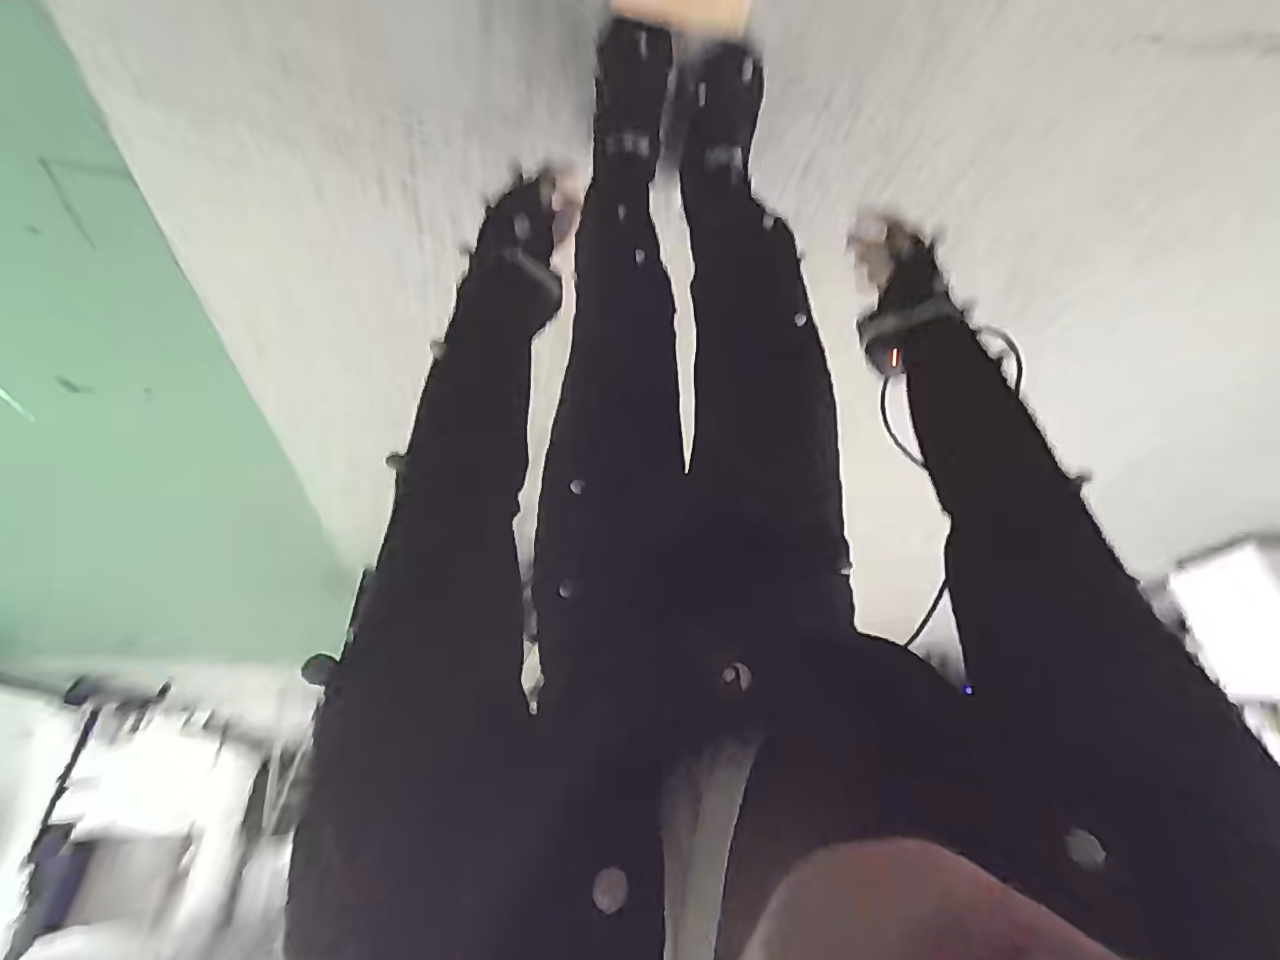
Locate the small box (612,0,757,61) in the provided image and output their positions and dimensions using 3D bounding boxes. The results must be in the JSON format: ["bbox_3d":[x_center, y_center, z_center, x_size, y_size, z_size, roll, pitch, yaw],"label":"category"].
[{"bbox_3d":[0.062,-0.677,0.685,0.179,0.176,0.168,5,146,-9],"label":"small box"}]
